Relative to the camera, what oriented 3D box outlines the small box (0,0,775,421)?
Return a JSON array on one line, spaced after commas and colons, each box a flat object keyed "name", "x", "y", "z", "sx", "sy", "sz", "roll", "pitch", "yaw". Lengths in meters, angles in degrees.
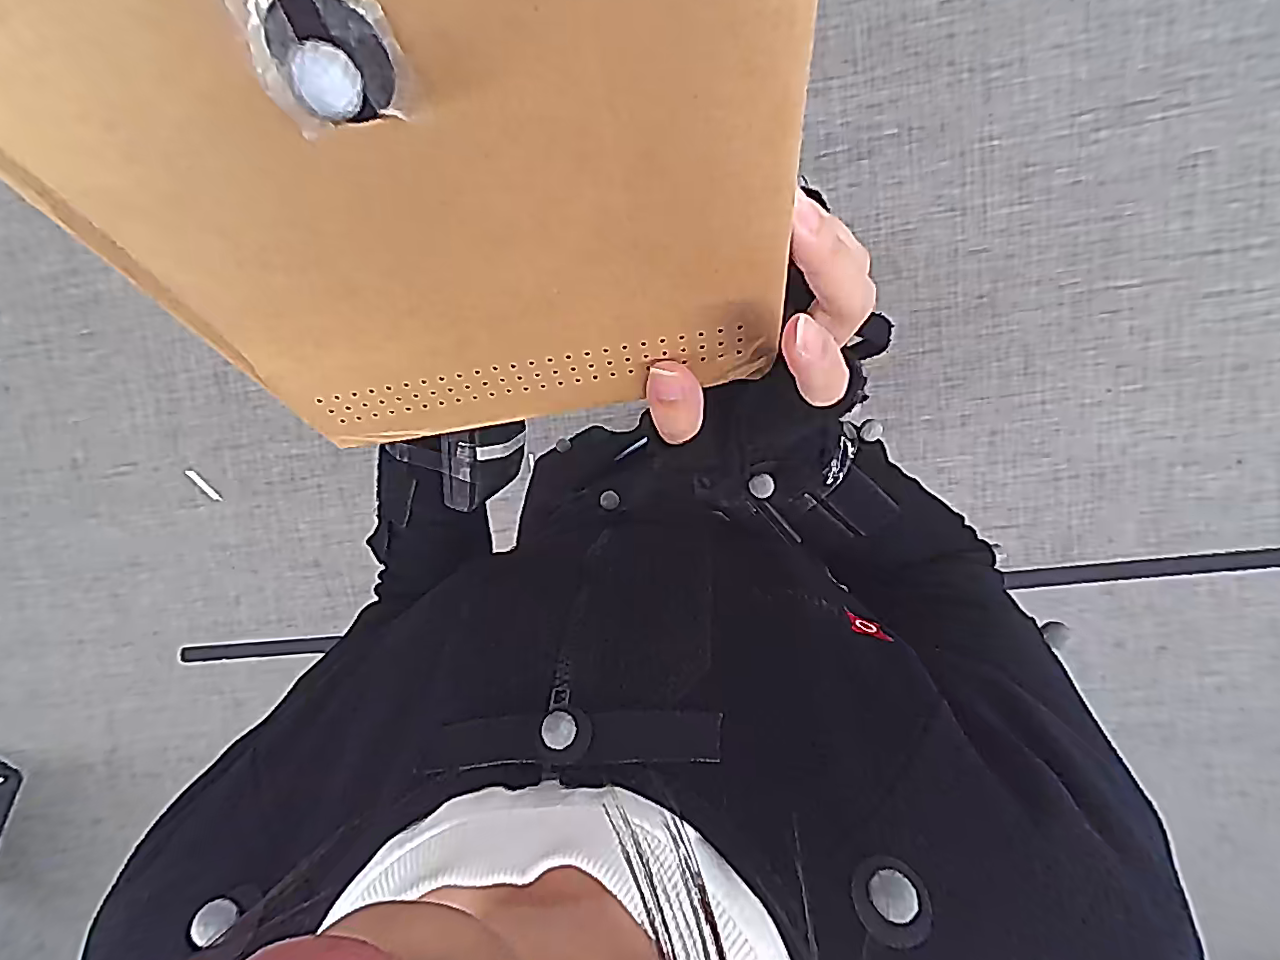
[{"name": "small box", "x": -0.052, "y": -0.138, "z": 0.195, "sx": 0.179, "sy": 0.176, "sz": 0.168, "roll": -8, "pitch": 63, "yaw": 5}]
